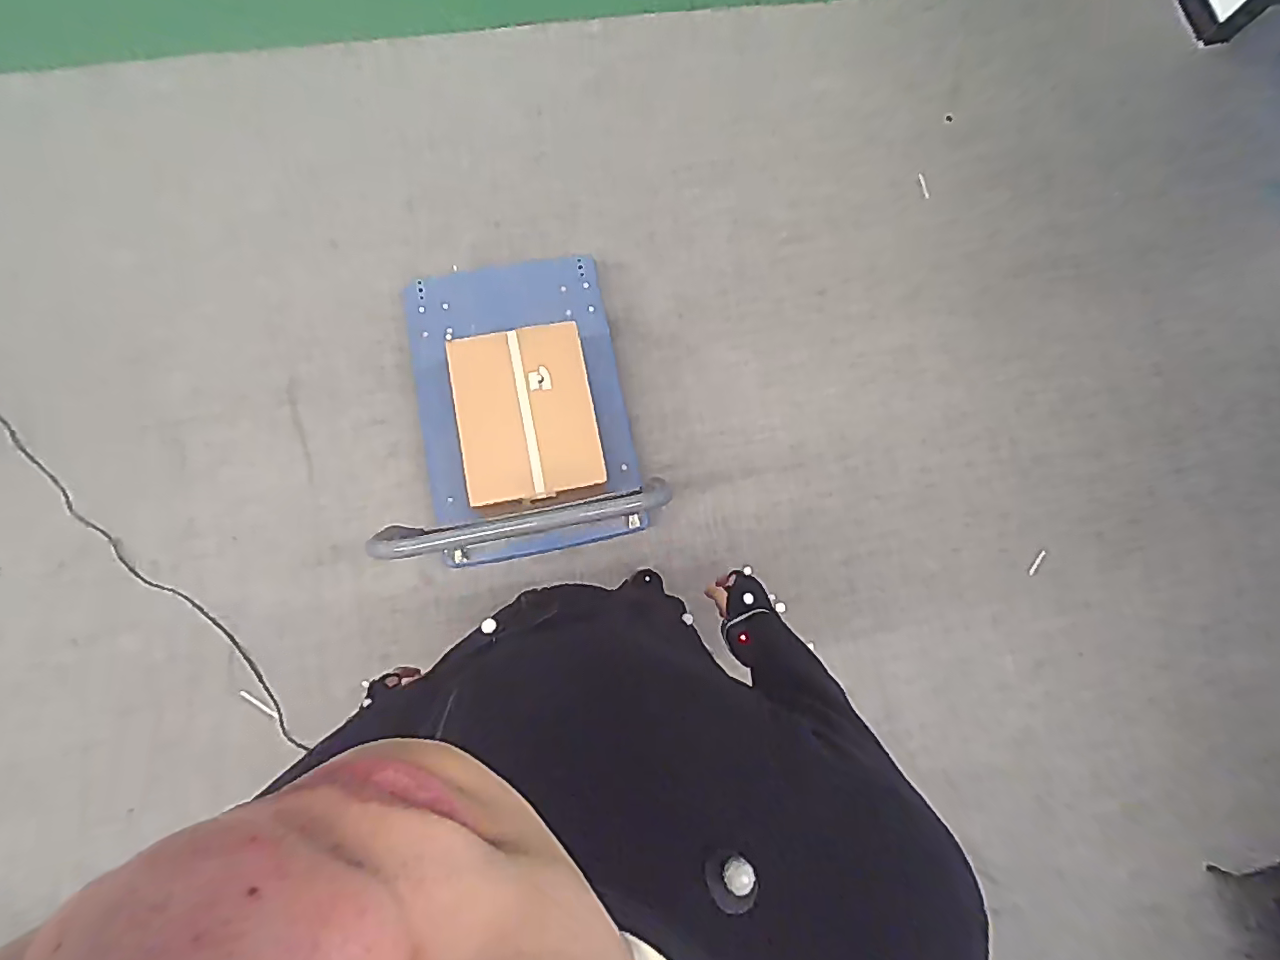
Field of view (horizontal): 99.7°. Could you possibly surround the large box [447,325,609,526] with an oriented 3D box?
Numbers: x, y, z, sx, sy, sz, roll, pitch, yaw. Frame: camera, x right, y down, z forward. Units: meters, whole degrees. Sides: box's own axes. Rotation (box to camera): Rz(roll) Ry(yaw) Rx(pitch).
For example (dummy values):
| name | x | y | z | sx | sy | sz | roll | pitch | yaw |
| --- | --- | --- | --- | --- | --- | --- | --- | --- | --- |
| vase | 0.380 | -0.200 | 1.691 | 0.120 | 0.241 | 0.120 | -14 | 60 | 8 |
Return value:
| name | x | y | z | sx | sy | sz | roll | pitch | yaw |
| --- | --- | --- | --- | --- | --- | --- | --- | --- | --- |
| large box | -0.273 | -0.124 | 1.395 | 0.320 | 0.320 | 0.408 | -11 | 79 | -8 |
